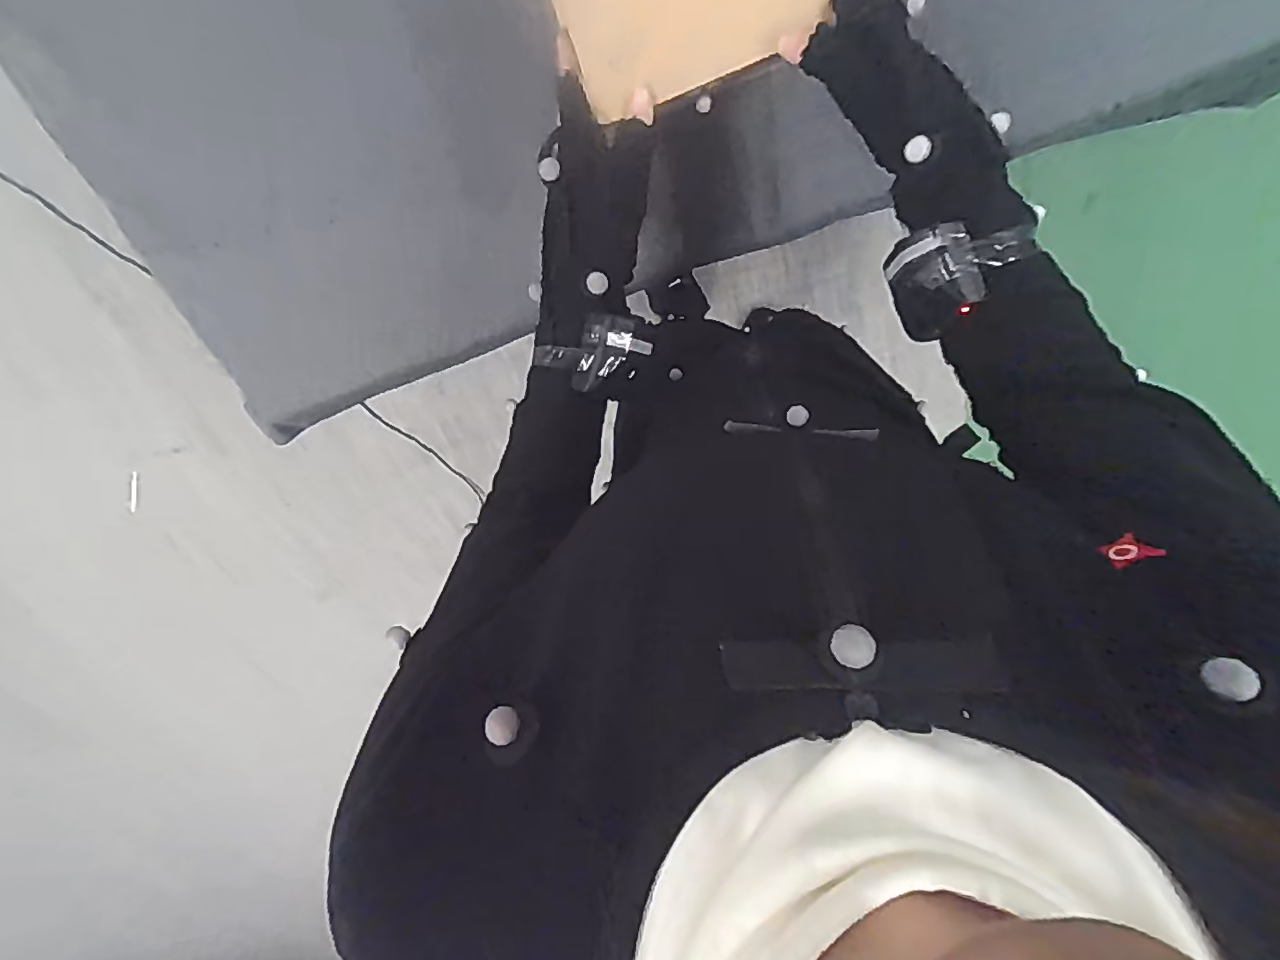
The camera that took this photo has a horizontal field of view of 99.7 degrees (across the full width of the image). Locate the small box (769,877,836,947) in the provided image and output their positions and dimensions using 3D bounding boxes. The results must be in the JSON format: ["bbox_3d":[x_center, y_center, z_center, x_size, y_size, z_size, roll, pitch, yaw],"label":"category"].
[{"bbox_3d":[0.591,1.612,1.995,0.179,0.176,0.168,-28,116,14],"label":"small box"}]

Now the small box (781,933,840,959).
[{"bbox_3d":[0.602,1.693,1.854,0.168,0.176,0.179,-26,116,12],"label":"small box"}]
